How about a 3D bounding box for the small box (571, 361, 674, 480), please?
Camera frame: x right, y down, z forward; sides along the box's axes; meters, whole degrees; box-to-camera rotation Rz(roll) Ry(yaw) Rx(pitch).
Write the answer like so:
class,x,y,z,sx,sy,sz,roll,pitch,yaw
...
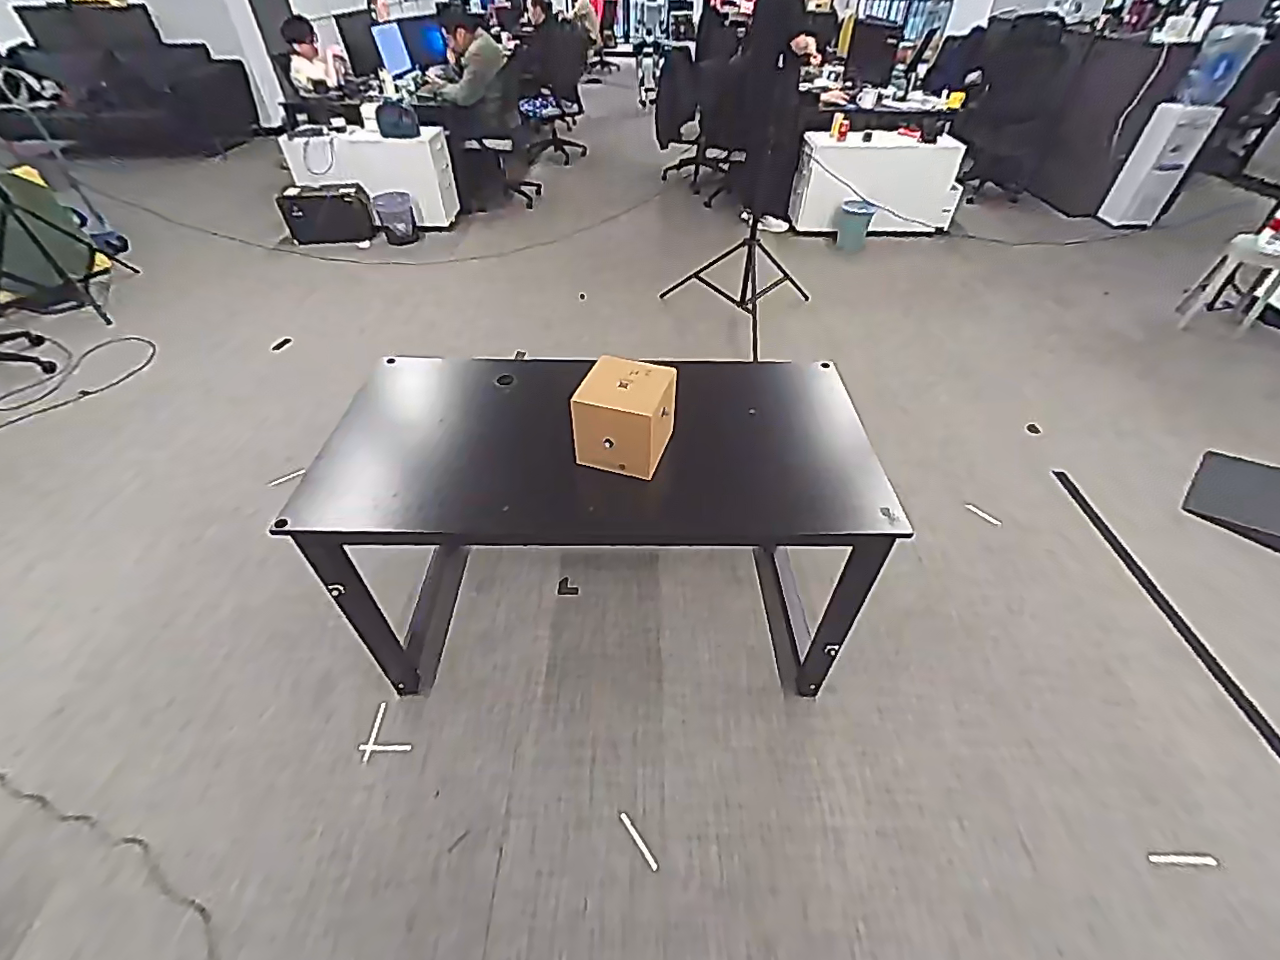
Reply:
class,x,y,z,sx,sy,sz,roll,pitch,yaw
small box,-0.032,-0.125,1.142,0.168,0.176,0.179,13,45,13
